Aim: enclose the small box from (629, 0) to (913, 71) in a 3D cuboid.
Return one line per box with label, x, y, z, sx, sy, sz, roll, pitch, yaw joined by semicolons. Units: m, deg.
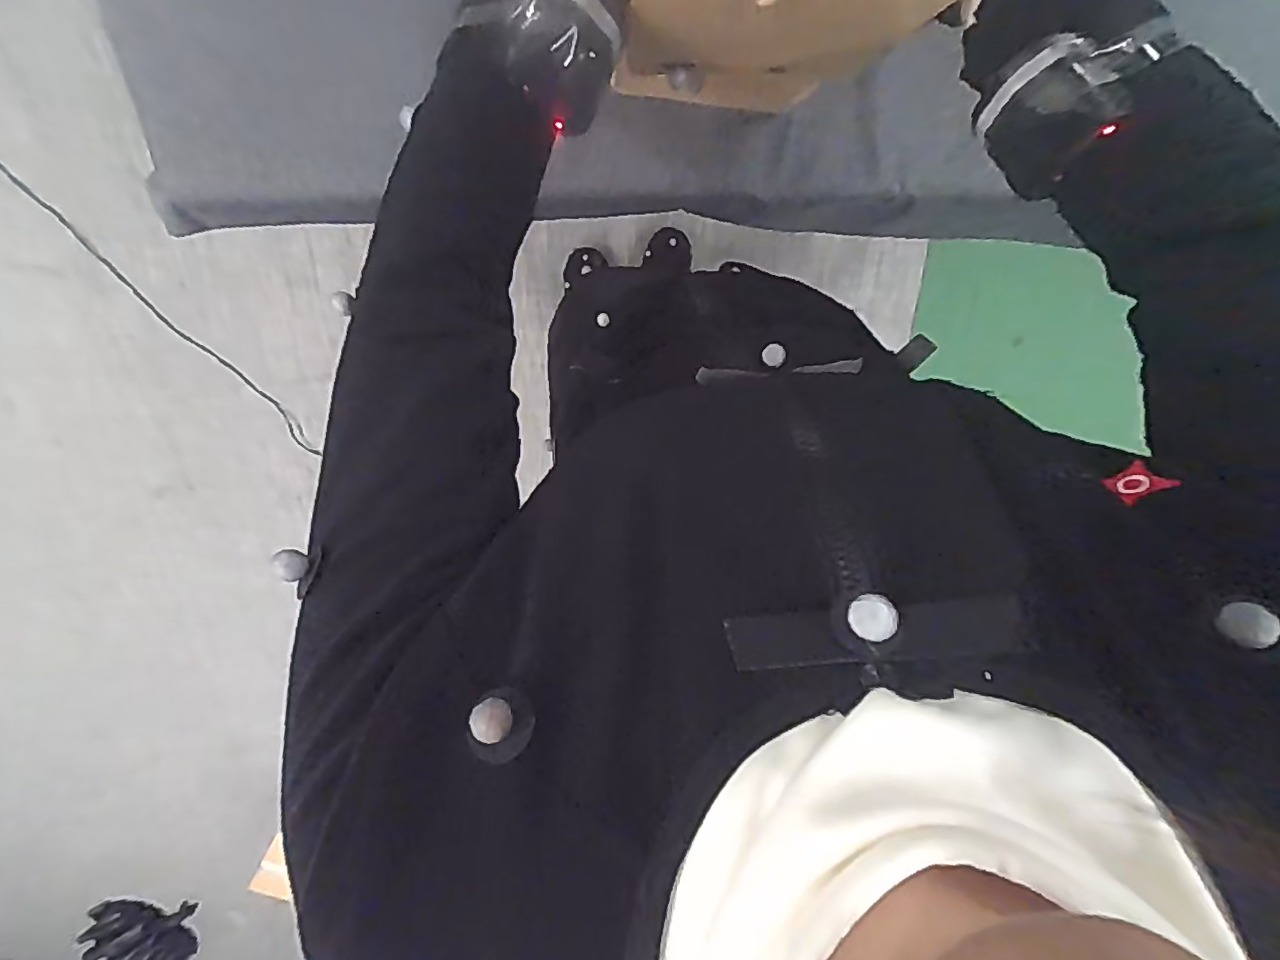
small box;0.073;-0.343;0.290;0.168;0.176;0.179;-3;114;1
